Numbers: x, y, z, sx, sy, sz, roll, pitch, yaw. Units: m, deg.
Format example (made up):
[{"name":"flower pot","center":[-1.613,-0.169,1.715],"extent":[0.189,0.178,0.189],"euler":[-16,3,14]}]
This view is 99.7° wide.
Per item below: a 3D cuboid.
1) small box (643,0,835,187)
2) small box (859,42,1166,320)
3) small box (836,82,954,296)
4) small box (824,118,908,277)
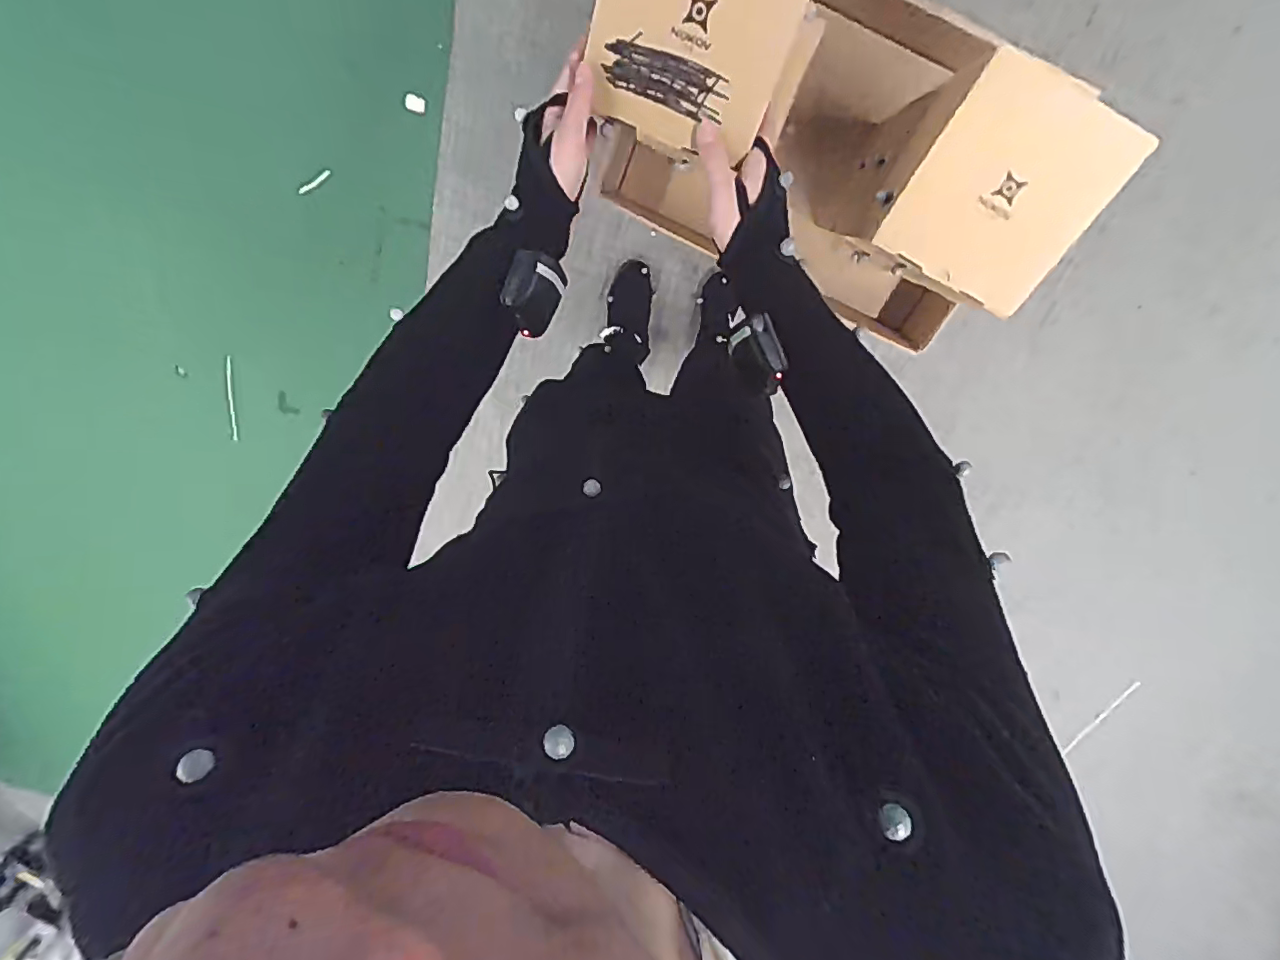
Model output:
[{"name":"small box","center":[0.119,-0.498,0.689],"extent":[0.168,0.176,0.179],"euler":[23,118,-1]},{"name":"small box","center":[0.357,-0.299,0.566],"extent":[0.168,0.176,0.179],"euler":[28,119,-4]},{"name":"small box","center":[0.381,-0.372,0.709],"extent":[0.168,0.176,0.179],"euler":[28,119,-4]},{"name":"small box","center":[0.412,-0.444,0.852],"extent":[0.168,0.176,0.179],"euler":[29,119,-4]}]
